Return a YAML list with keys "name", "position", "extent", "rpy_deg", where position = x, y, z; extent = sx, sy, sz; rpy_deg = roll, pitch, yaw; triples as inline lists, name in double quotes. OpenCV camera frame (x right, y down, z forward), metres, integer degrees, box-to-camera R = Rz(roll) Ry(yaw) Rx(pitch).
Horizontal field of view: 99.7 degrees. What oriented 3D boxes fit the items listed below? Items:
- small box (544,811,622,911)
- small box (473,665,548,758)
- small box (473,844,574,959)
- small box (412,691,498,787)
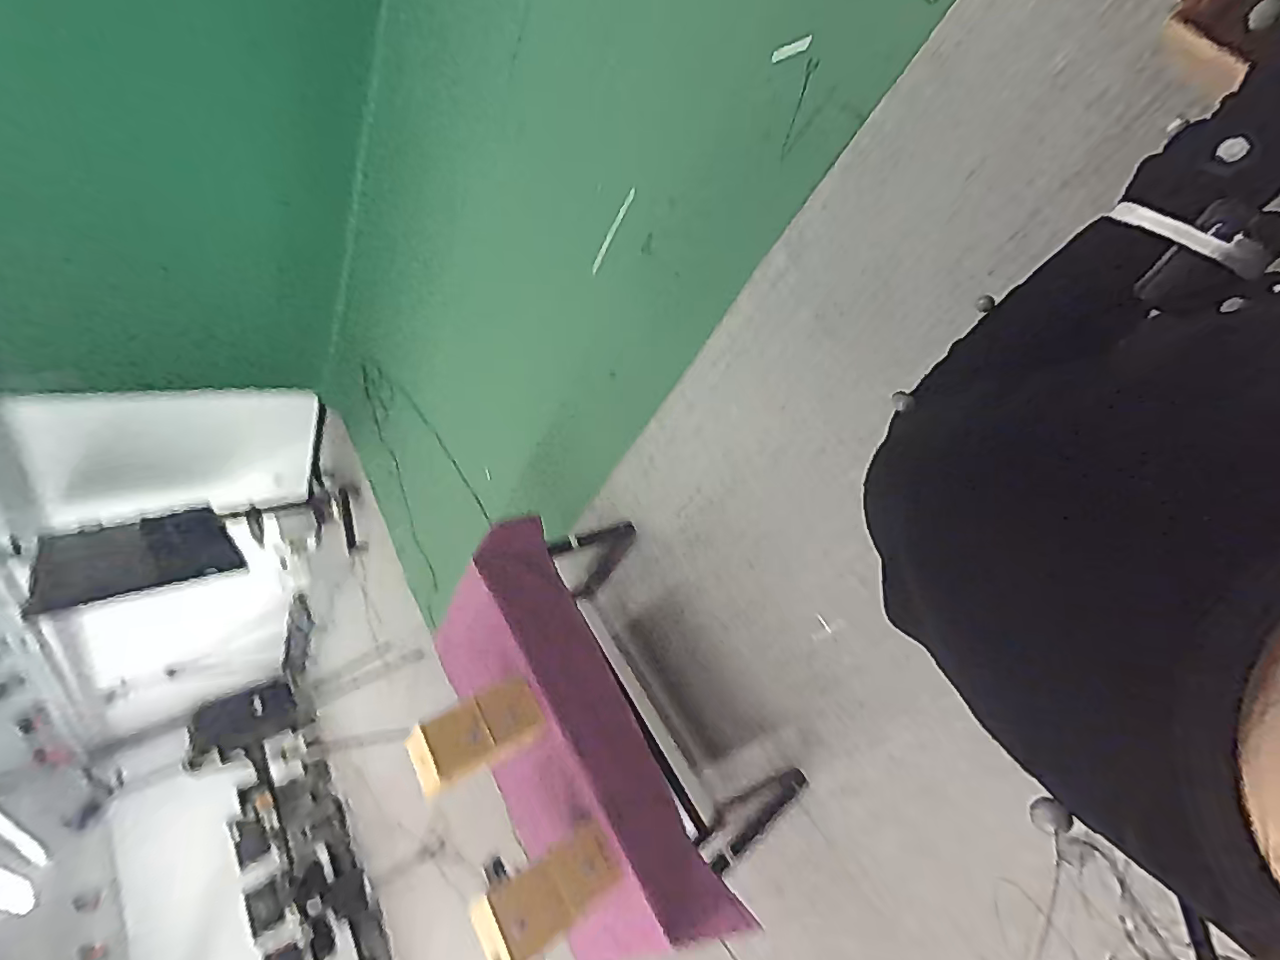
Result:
- name: "small box"
  position: [-0.174, 1.044, 1.476]
  extent: [0.168, 0.176, 0.179]
  rpy_deg: [55, 133, 24]
- name: "small box"
  position: [-0.406, 0.702, 1.648]
  extent: [0.179, 0.176, 0.168]
  rpy_deg: [53, 132, 23]
- name: "small box"
  position: [-0.292, 1.069, 1.364]
  extent: [0.179, 0.176, 0.168]
  rpy_deg: [55, 132, 24]
- name: "small box"
  position: [-0.526, 0.734, 1.541]
  extent: [0.168, 0.176, 0.179]
  rpy_deg: [55, 132, 23]
